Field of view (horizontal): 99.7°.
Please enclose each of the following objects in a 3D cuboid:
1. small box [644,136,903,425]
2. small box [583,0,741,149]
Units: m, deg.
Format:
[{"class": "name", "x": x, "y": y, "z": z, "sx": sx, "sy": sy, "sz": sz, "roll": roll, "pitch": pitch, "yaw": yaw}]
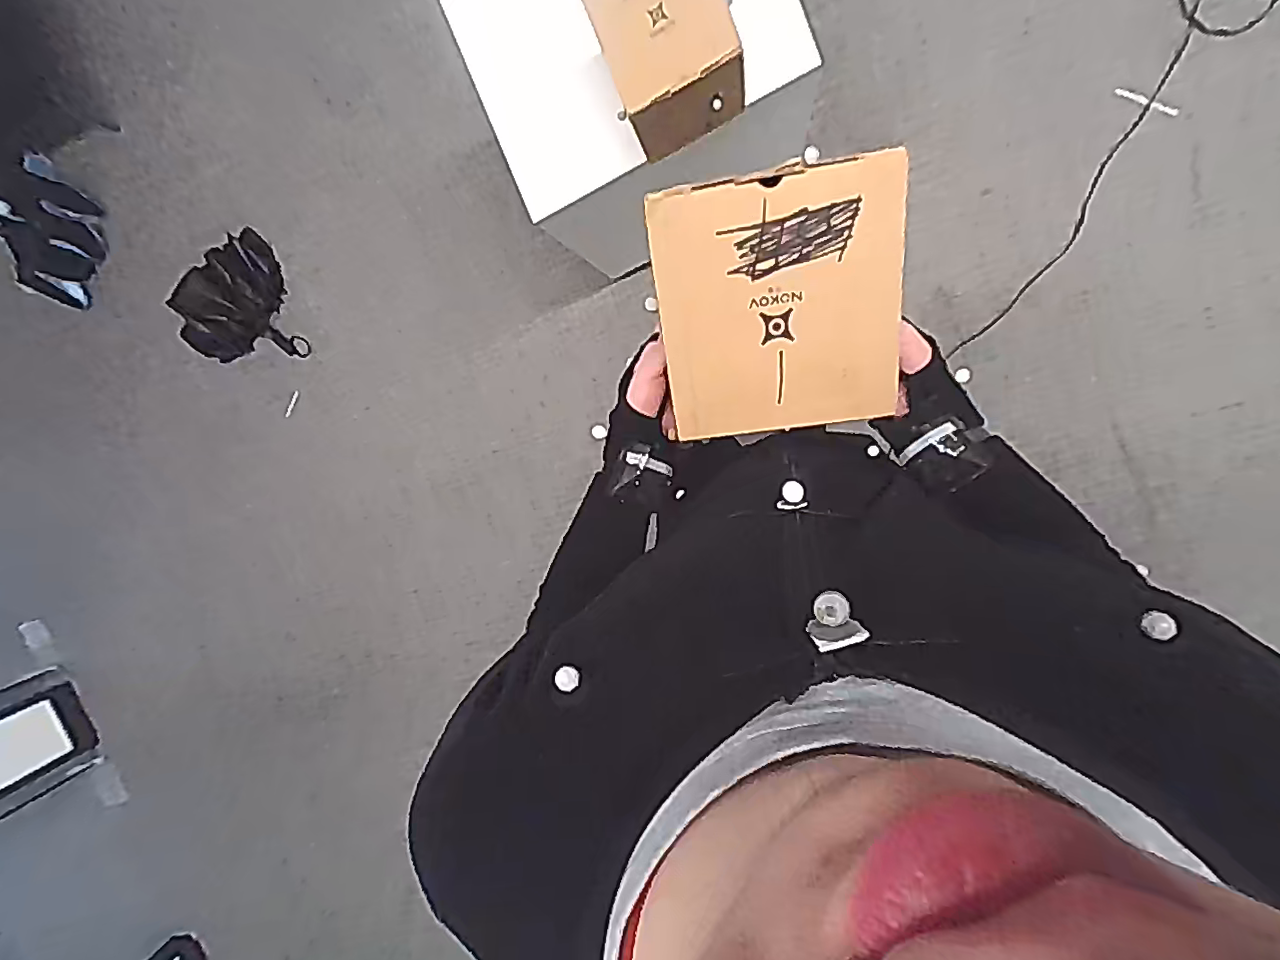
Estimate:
[{"class": "small box", "x": 0.099, "y": -0.163, "z": 0.448, "sx": 0.168, "sy": 0.176, "sz": 0.179, "roll": -5, "pitch": 118, "yaw": 9}, {"class": "small box", "x": 0.040, "y": -0.612, "z": 0.771, "sx": 0.168, "sy": 0.176, "sz": 0.179, "roll": -22, "pitch": 94, "yaw": 13}]
